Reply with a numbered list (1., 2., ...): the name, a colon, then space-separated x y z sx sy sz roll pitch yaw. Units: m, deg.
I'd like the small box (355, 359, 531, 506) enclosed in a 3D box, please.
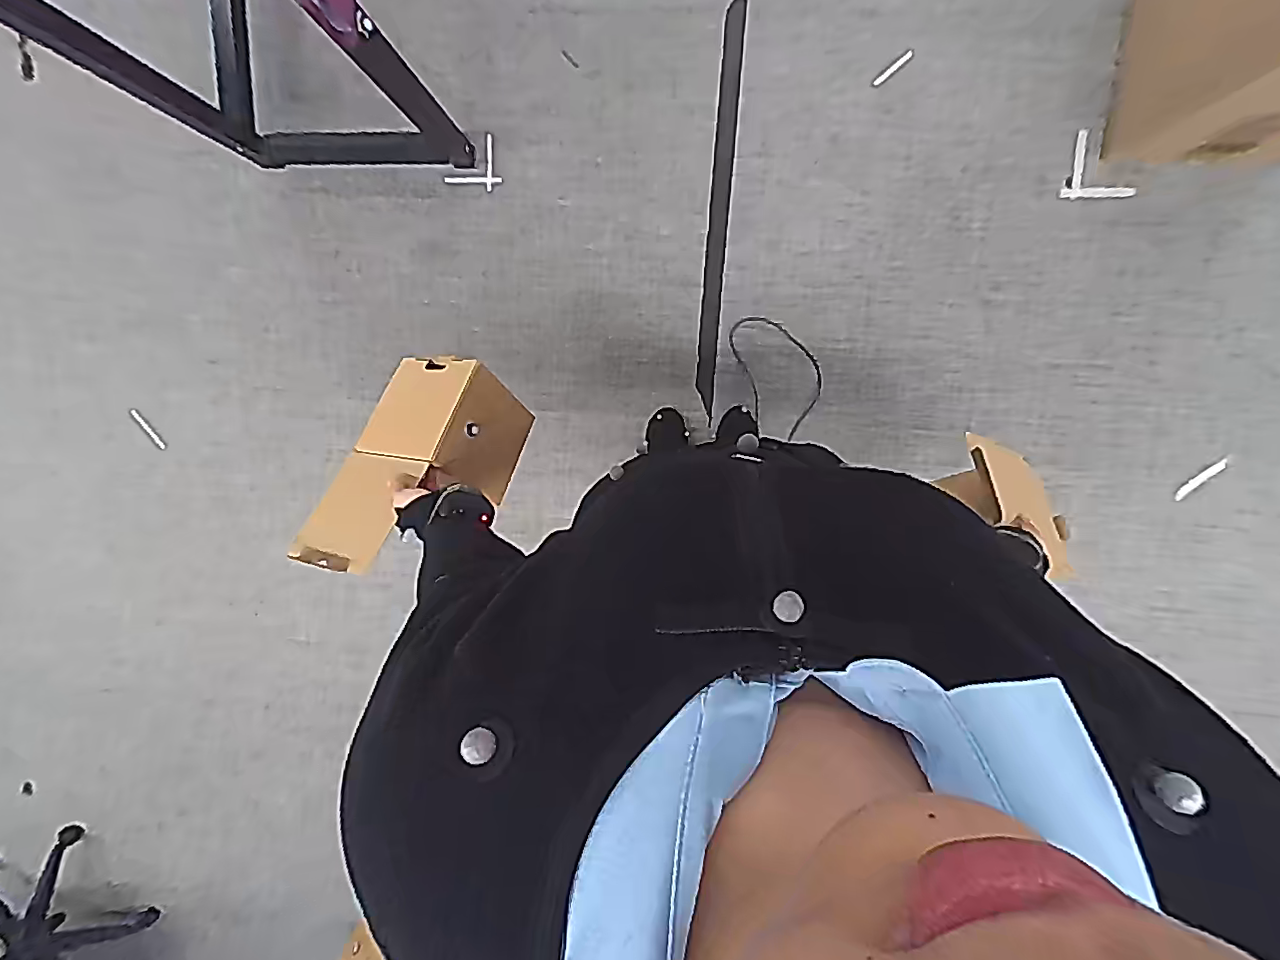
1. small box: -0.303 -0.073 0.868 0.168 0.176 0.179 8 68 26
